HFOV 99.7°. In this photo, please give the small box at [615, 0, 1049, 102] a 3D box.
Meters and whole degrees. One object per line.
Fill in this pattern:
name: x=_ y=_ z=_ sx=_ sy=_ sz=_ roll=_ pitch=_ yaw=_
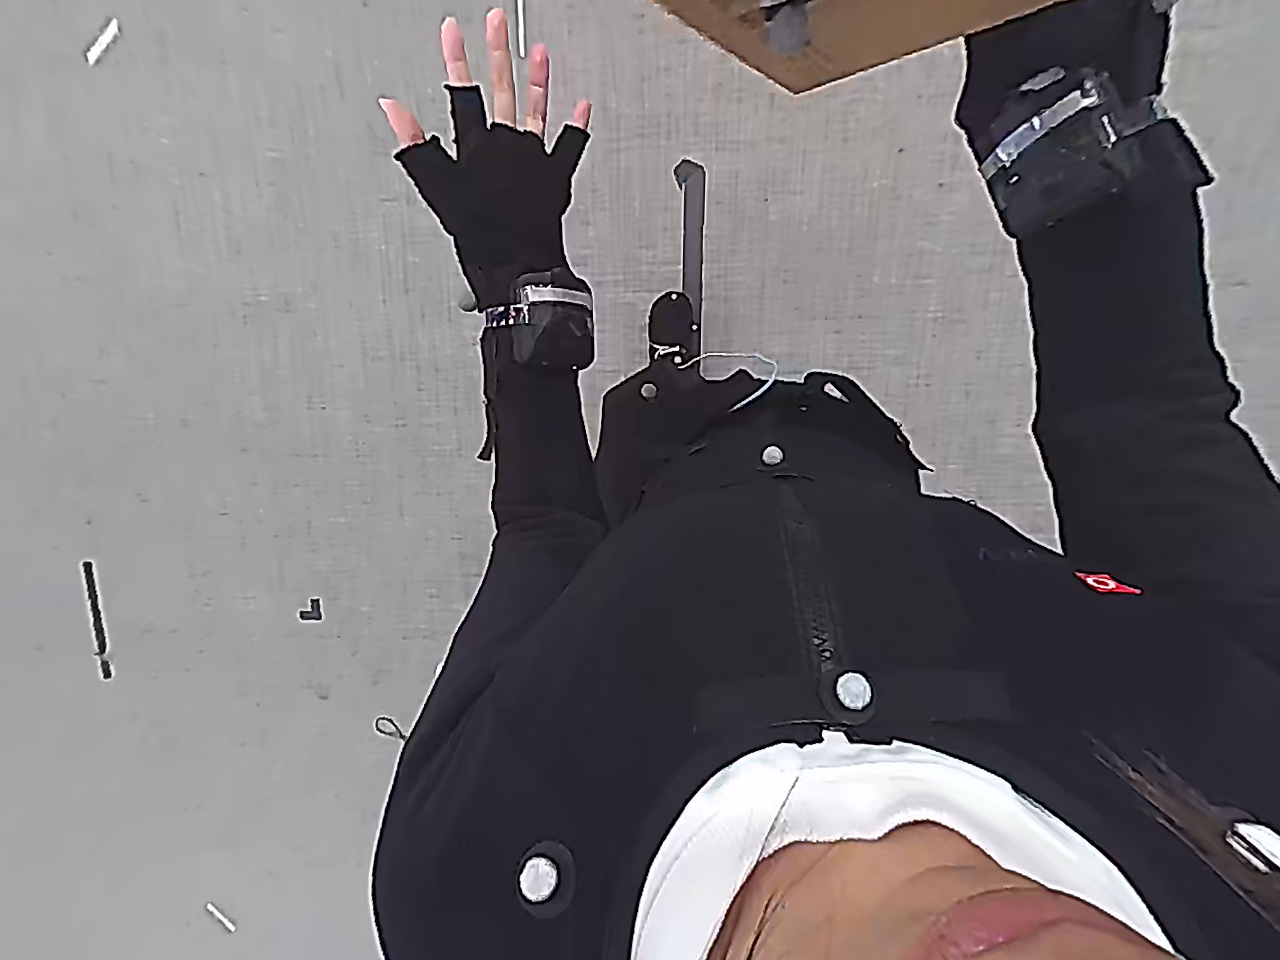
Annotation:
small box: x=0.082 y=-0.278 z=0.192 sx=0.176 sy=0.168 sz=0.179 roll=7 pitch=110 yaw=40
